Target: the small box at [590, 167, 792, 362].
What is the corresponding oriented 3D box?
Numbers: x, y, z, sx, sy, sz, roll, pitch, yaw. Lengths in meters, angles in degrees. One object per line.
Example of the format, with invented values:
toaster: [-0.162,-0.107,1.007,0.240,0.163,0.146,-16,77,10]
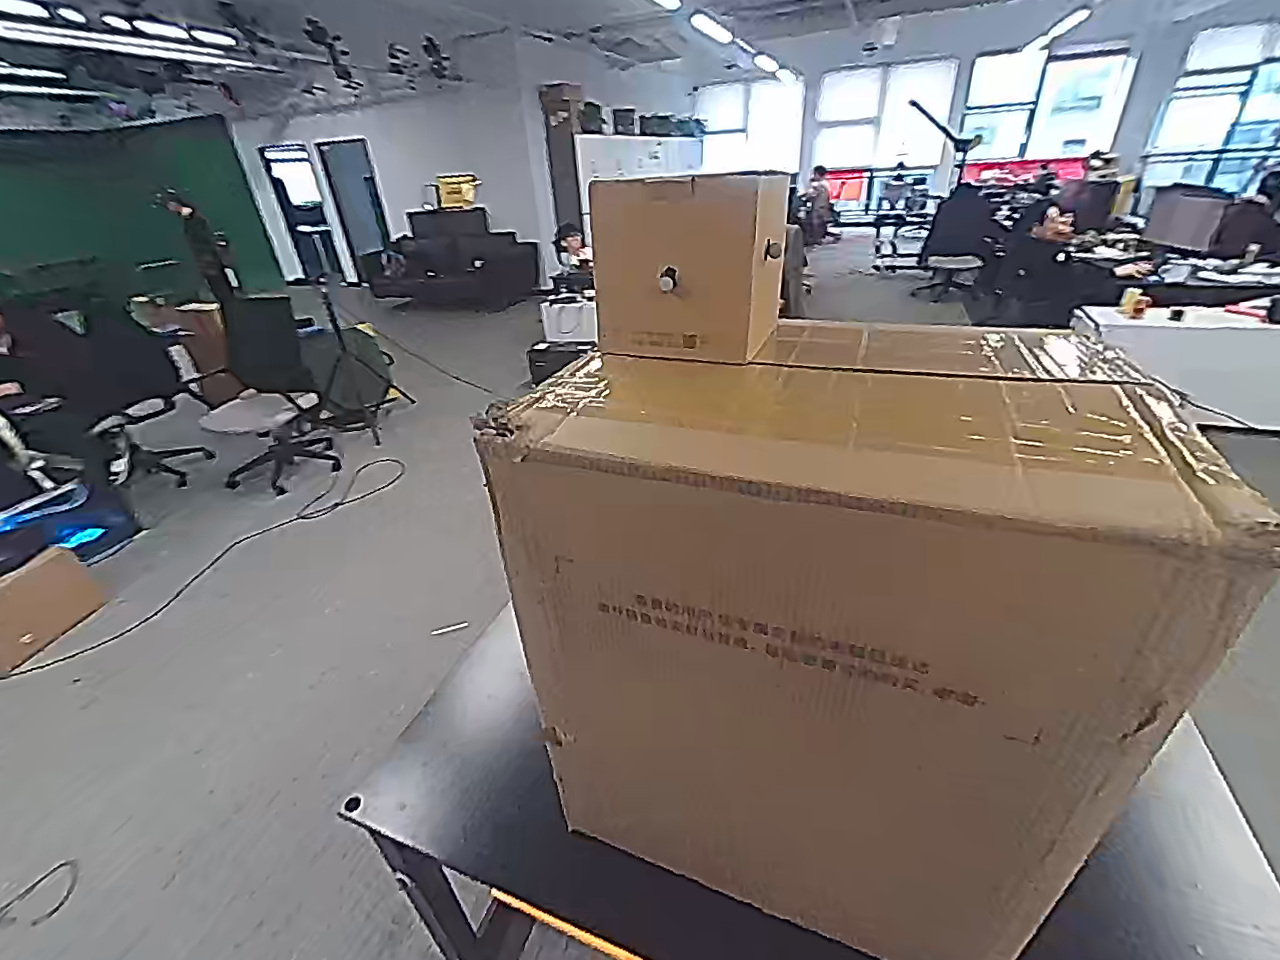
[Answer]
small box: [0.063,-0.234,0.585,0.168,0.176,0.179,10,32,20]
